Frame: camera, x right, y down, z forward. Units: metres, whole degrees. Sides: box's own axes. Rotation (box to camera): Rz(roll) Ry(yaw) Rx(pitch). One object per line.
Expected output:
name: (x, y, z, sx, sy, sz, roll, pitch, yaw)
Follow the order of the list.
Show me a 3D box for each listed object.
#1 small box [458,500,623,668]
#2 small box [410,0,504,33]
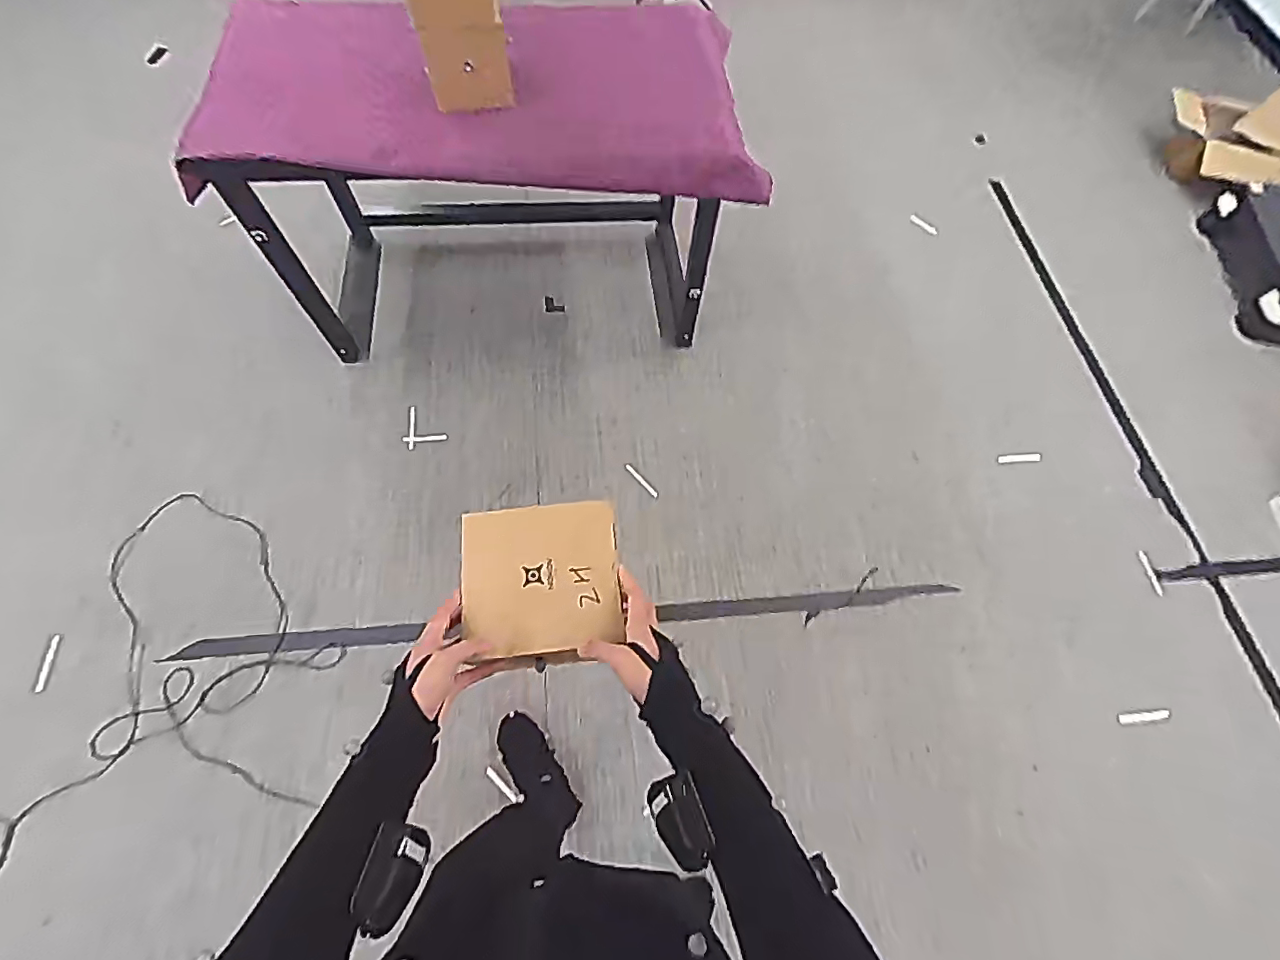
small box: (-0.115, 0.136, 0.674, 0.179, 0.176, 0.168, -5, 68, -5)
small box: (-0.375, -1.024, 1.071, 0.179, 0.176, 0.168, -6, 66, -6)
